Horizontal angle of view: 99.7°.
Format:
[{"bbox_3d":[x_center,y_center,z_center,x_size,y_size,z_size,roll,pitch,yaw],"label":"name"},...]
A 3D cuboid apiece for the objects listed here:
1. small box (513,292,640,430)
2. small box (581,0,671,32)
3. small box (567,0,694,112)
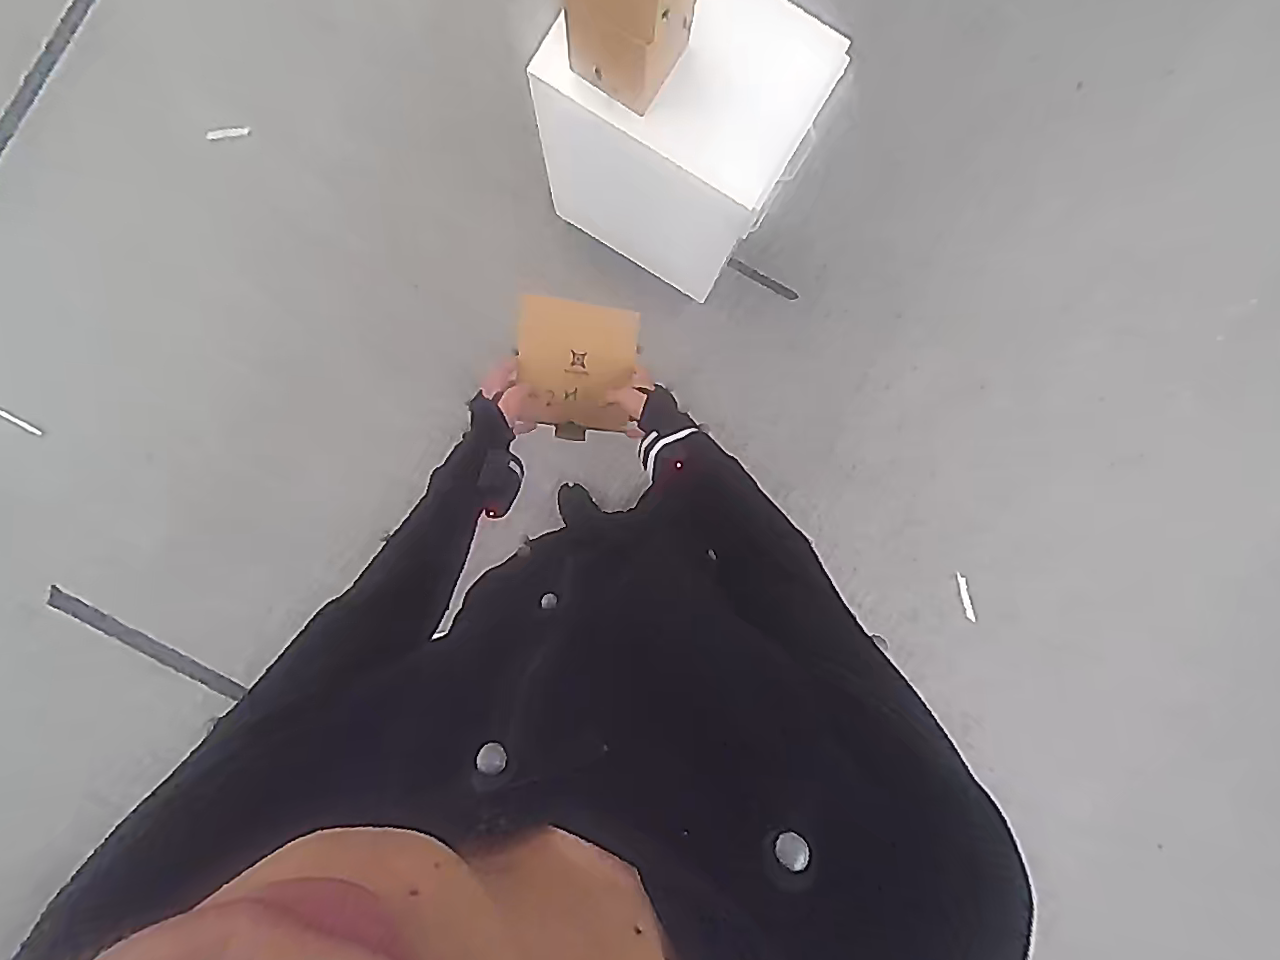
[{"bbox_3d":[-0.102,-0.174,0.839,0.168,0.176,0.179,5,96,-9],"label":"small box"},{"bbox_3d":[-0.013,-0.816,0.789,0.179,0.176,0.168,27,87,-1],"label":"small box"},{"bbox_3d":[-0.017,-0.813,0.953,0.168,0.176,0.179,32,88,-2],"label":"small box"}]
